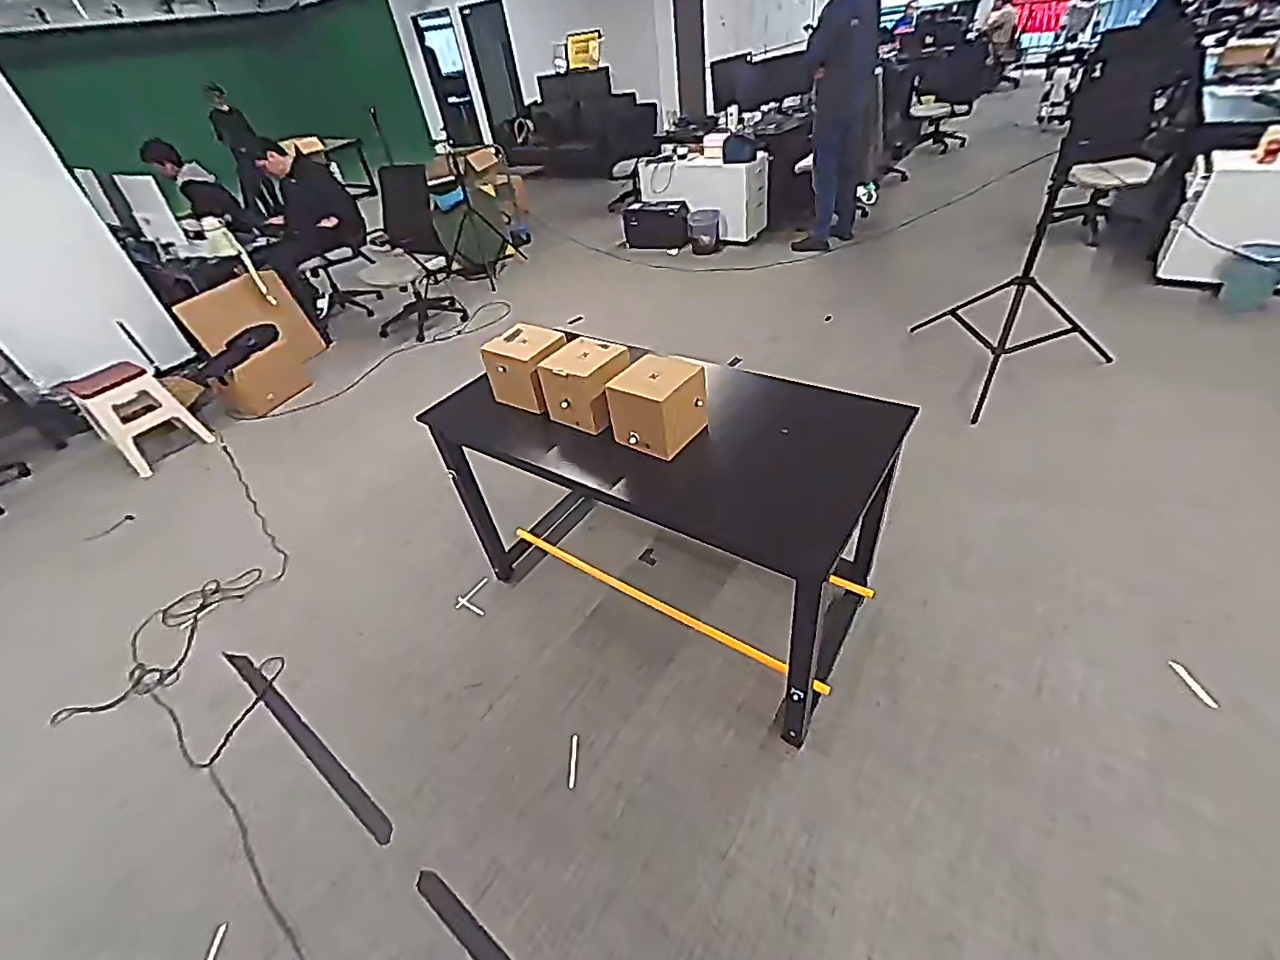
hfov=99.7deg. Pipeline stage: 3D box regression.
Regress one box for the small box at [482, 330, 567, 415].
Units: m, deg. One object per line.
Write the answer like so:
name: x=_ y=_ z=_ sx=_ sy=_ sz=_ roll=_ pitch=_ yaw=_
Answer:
small box: x=-0.312 y=-0.304 z=1.534 sx=0.179 sy=0.176 sz=0.168 roll=19 pitch=47 yaw=28

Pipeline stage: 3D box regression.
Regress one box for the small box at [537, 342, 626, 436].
small box: x=-0.137 y=-0.239 z=1.427 sx=0.168 sy=0.176 sz=0.179 roll=20 pitch=48 yaw=31

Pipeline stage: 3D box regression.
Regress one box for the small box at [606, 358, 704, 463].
small box: x=0.043 y=-0.169 z=1.311 sx=0.168 sy=0.176 sz=0.179 roll=20 pitch=48 yaw=32
